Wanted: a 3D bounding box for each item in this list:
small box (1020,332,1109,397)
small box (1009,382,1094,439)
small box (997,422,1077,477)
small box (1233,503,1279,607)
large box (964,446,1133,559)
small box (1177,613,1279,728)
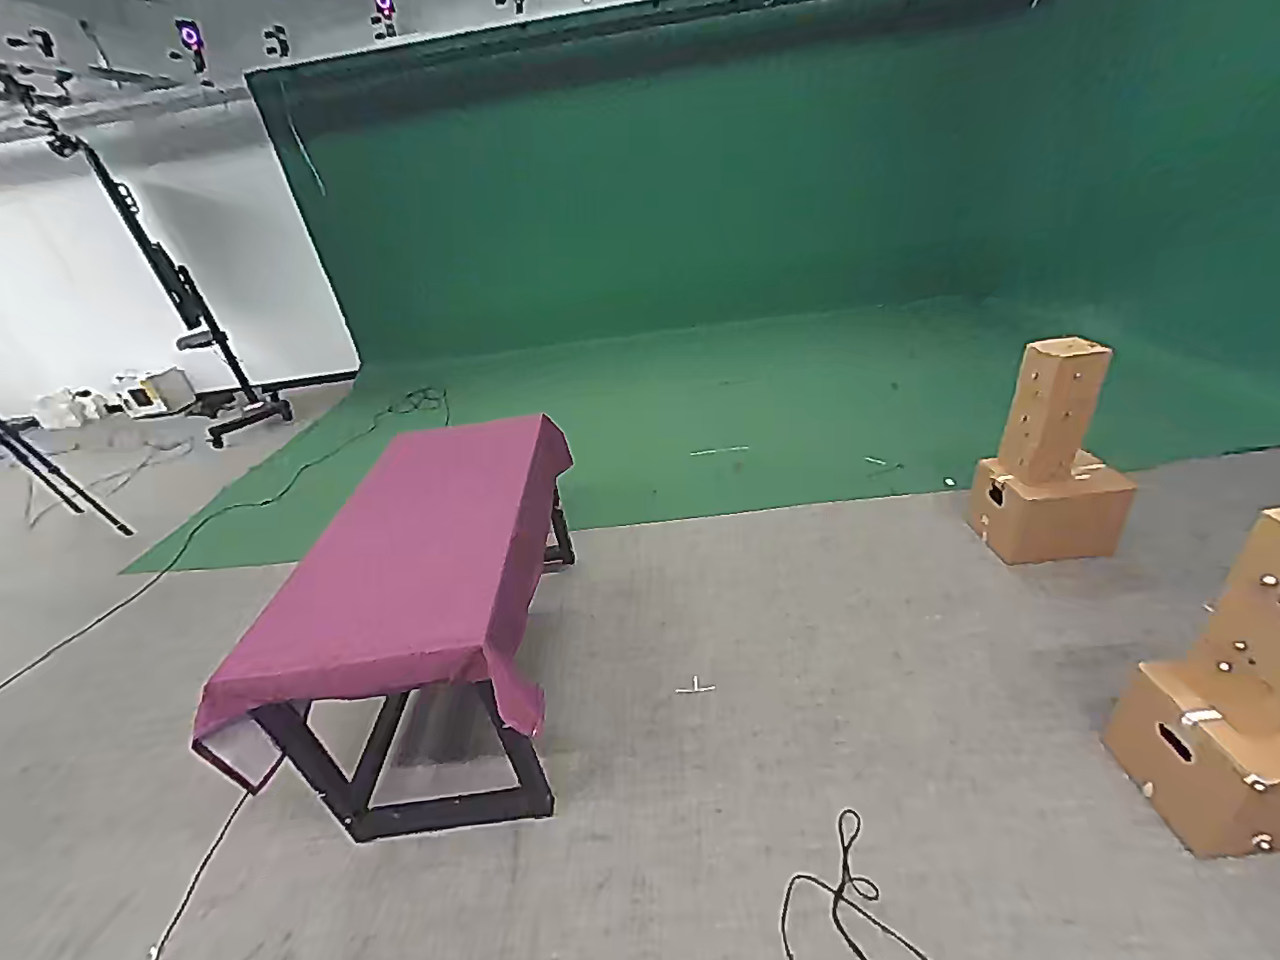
[{"bbox_3d":[1.464,-0.399,1.882,0.179,0.176,0.168,-9,31,0],"label":"small box"},{"bbox_3d":[1.486,-0.260,1.968,0.179,0.176,0.168,-9,31,-2],"label":"small box"},{"bbox_3d":[1.500,-0.120,2.054,0.168,0.176,0.179,-7,30,2],"label":"small box"},{"bbox_3d":[1.312,0.152,1.024,0.179,0.176,0.168,-8,30,5],"label":"small box"},{"bbox_3d":[1.602,0.086,2.161,0.408,0.320,0.320,-6,31,2],"label":"large box"},{"bbox_3d":[1.370,0.426,1.197,0.168,0.176,0.179,-8,30,2],"label":"small box"}]
